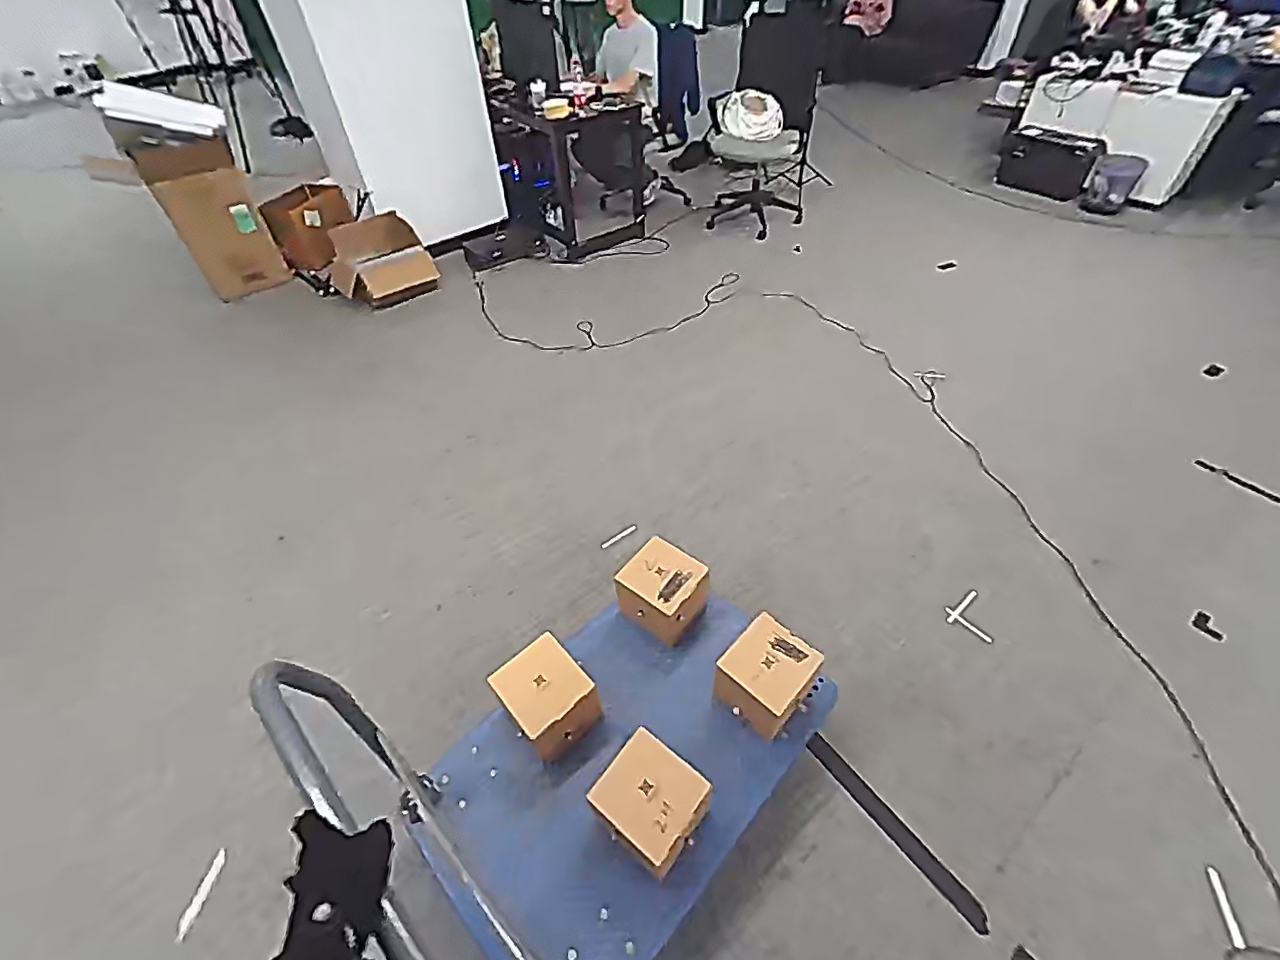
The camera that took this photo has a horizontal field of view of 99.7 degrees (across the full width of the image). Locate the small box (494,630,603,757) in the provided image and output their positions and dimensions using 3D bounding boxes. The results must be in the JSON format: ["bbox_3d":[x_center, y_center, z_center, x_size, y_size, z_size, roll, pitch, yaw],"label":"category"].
[{"bbox_3d":[-0.200,0.480,1.213,0.168,0.176,0.179,-35,56,-26],"label":"small box"}]

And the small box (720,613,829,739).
[{"bbox_3d":[0.293,0.442,1.218,0.179,0.176,0.168,-38,56,-26],"label":"small box"}]

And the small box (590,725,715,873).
[{"bbox_3d":[0.025,0.628,1.060,0.179,0.176,0.168,31,56,28],"label":"small box"}]
